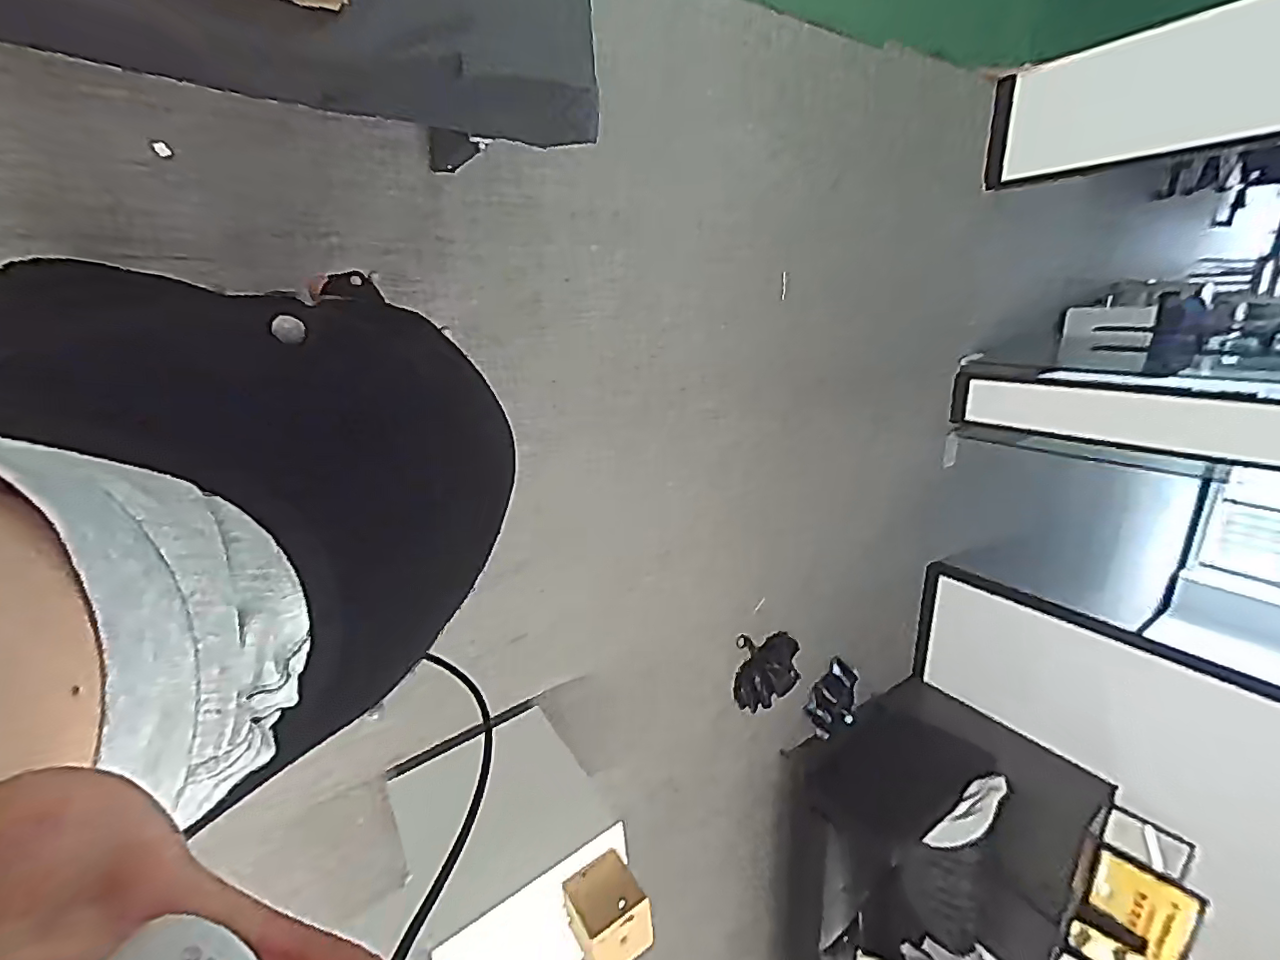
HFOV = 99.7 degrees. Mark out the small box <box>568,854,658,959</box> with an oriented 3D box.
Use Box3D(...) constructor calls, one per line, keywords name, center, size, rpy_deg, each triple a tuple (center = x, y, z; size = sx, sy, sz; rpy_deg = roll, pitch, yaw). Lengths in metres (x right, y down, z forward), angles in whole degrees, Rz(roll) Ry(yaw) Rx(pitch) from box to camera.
Box3D(name="small box", center=(-0.070, 1.121, 1.387), size=(0.168, 0.176, 0.179), rpy_deg=(-17, 114, -30))
